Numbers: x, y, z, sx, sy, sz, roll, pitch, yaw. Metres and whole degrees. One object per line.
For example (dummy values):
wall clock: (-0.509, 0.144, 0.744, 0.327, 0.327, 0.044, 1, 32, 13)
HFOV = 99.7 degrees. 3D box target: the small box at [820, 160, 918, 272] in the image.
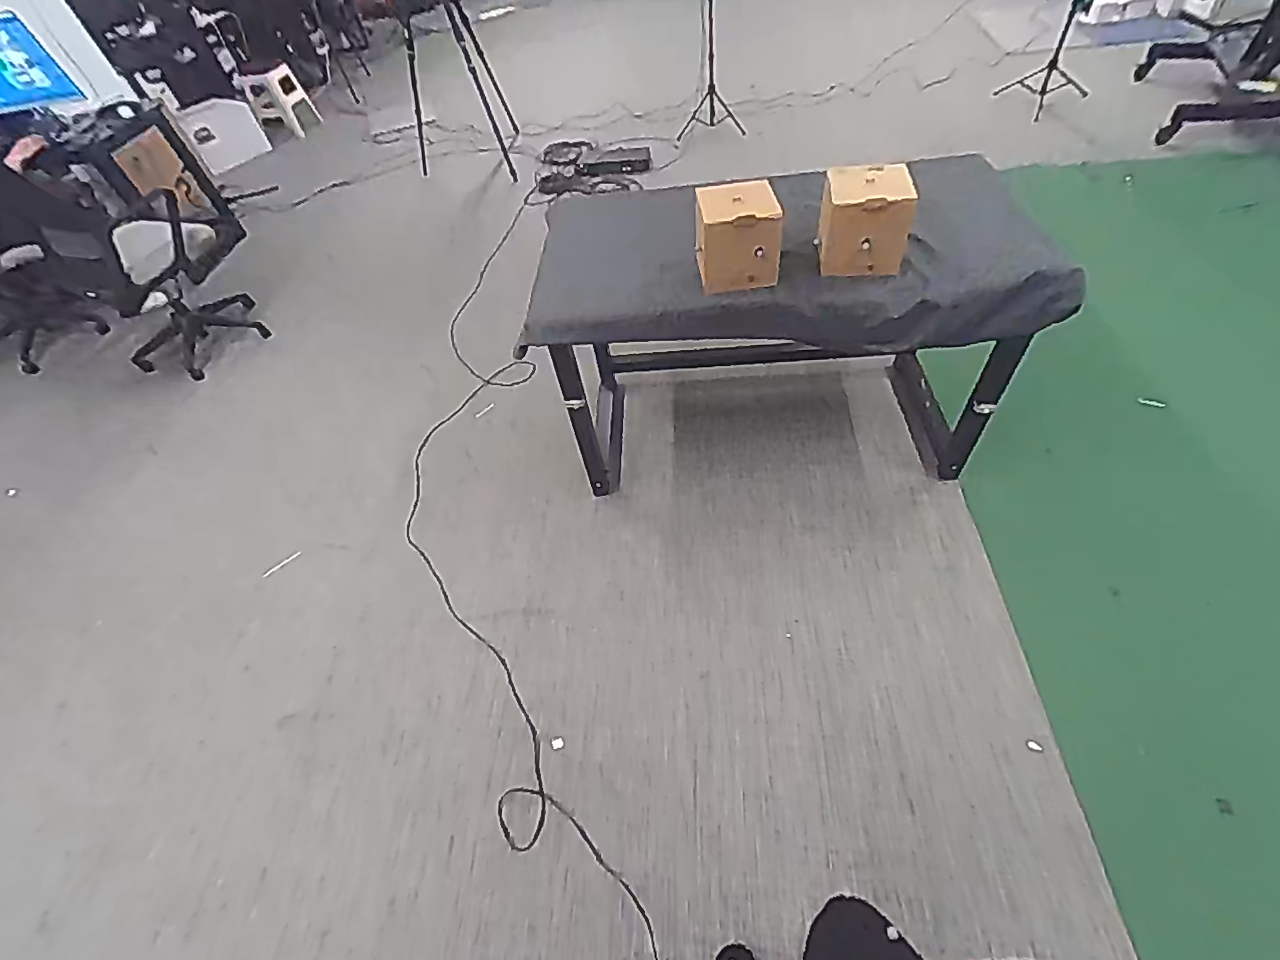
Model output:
small box: (0.499, -0.581, 1.204, 0.168, 0.176, 0.179, 3, 53, 10)

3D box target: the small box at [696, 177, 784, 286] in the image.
small box: (0.221, -0.555, 1.225, 0.168, 0.176, 0.179, -6, 49, 2)
